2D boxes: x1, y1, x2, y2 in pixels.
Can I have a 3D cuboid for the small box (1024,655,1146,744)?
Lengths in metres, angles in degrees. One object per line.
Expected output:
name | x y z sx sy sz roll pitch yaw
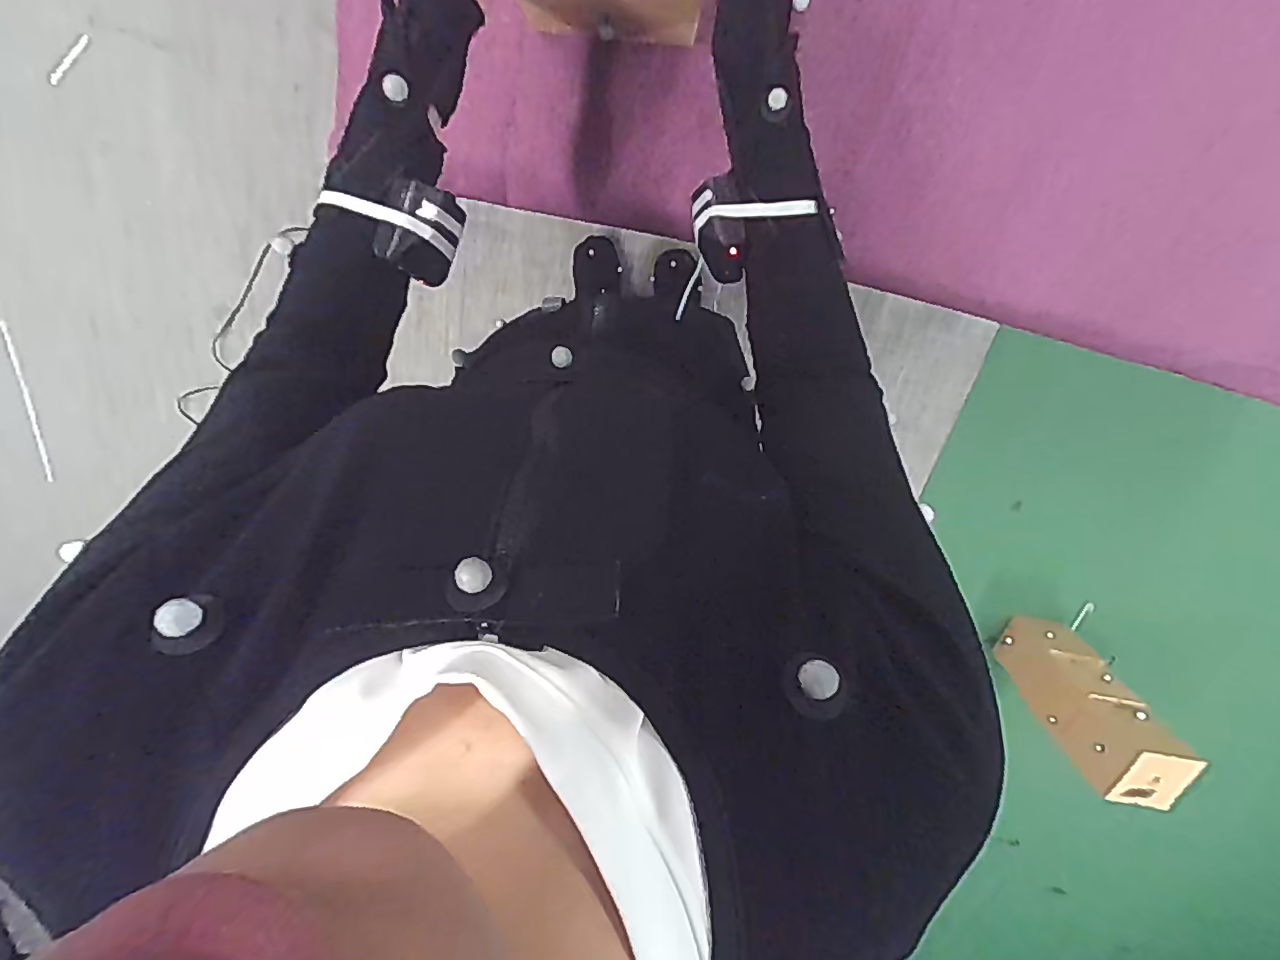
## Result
small box | 1.229 0.620 1.513 0.168 0.176 0.179 12 115 -3

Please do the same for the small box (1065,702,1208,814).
small box | 1.233 0.697 1.365 0.168 0.176 0.179 13 116 -5

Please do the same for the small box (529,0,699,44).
small box | -0.022 -0.497 0.439 0.168 0.176 0.179 6 114 0
